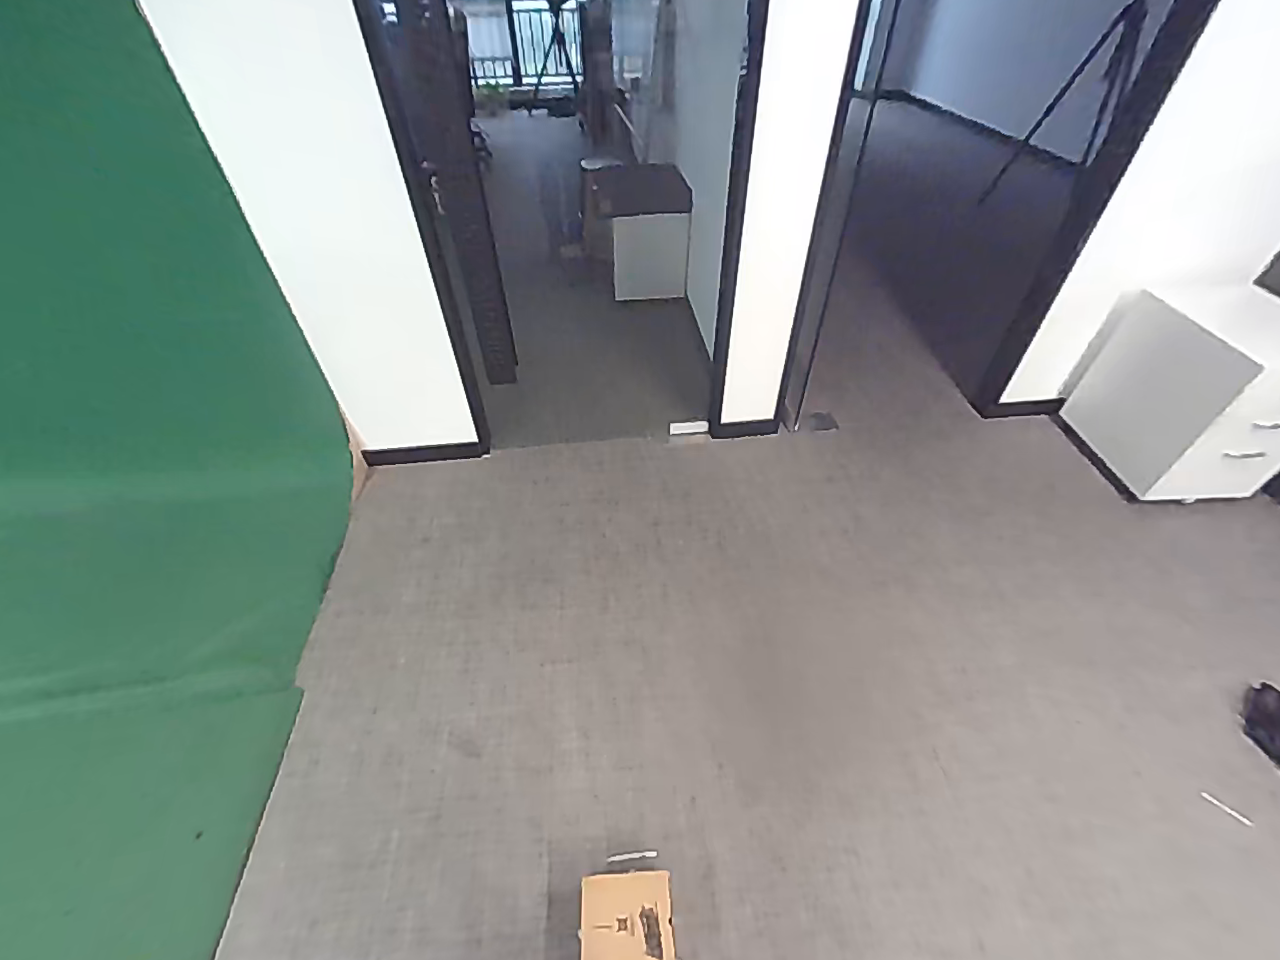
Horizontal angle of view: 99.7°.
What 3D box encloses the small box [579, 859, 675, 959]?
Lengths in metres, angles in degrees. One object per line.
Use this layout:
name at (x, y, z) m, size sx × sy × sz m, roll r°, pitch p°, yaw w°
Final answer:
small box at (-0.026, 0.883, 1.089) m, size 0.179 × 0.176 × 0.168 m, roll -4°, pitch 44°, yaw -1°
